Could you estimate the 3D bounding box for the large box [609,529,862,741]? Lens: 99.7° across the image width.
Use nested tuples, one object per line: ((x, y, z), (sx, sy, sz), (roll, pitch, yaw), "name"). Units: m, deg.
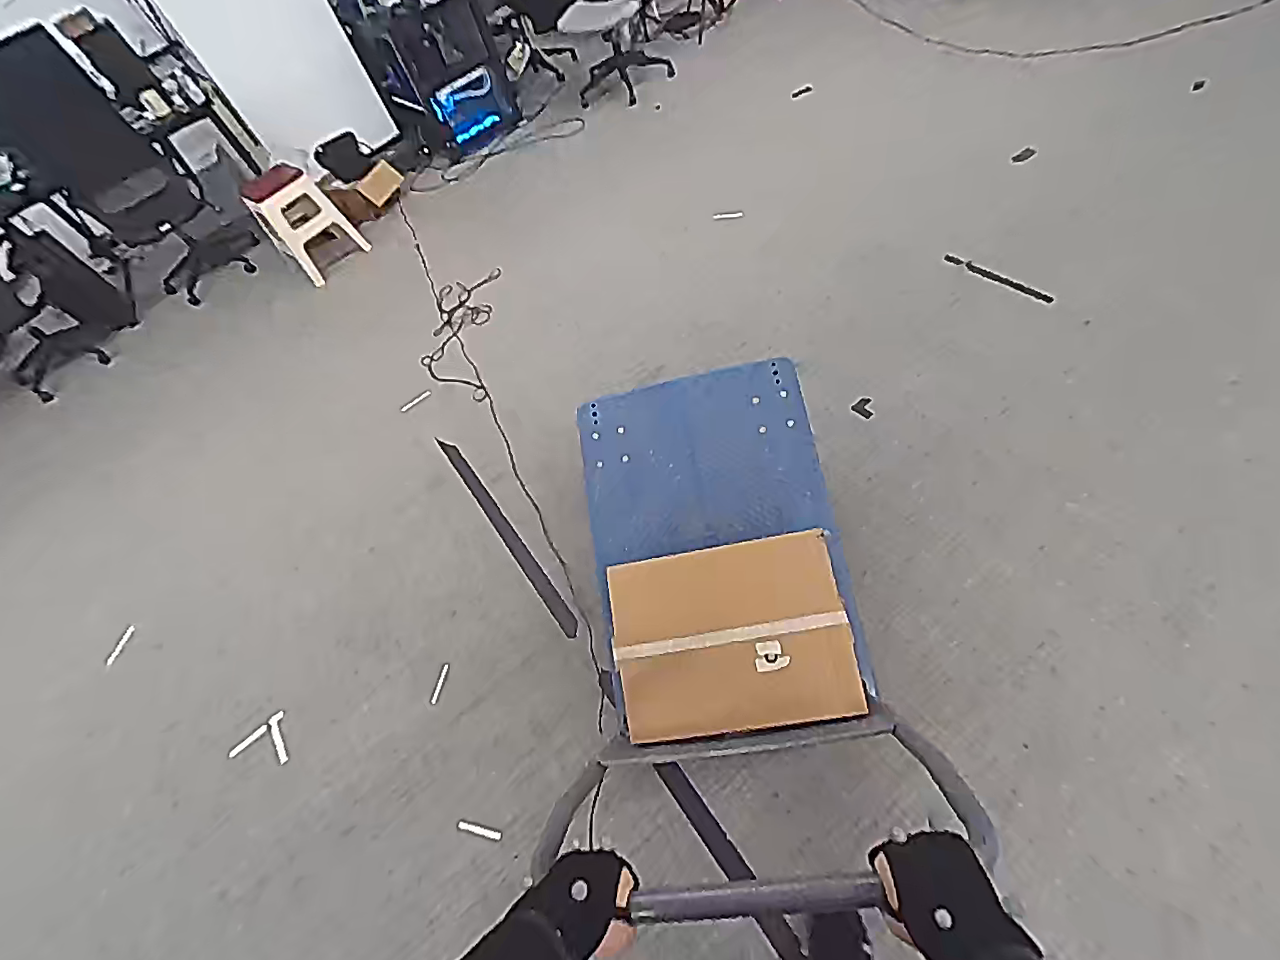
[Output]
((0.183, 0.314, 1.111), (0.408, 0.320, 0.320), (-12, 74, 8), "large box")
